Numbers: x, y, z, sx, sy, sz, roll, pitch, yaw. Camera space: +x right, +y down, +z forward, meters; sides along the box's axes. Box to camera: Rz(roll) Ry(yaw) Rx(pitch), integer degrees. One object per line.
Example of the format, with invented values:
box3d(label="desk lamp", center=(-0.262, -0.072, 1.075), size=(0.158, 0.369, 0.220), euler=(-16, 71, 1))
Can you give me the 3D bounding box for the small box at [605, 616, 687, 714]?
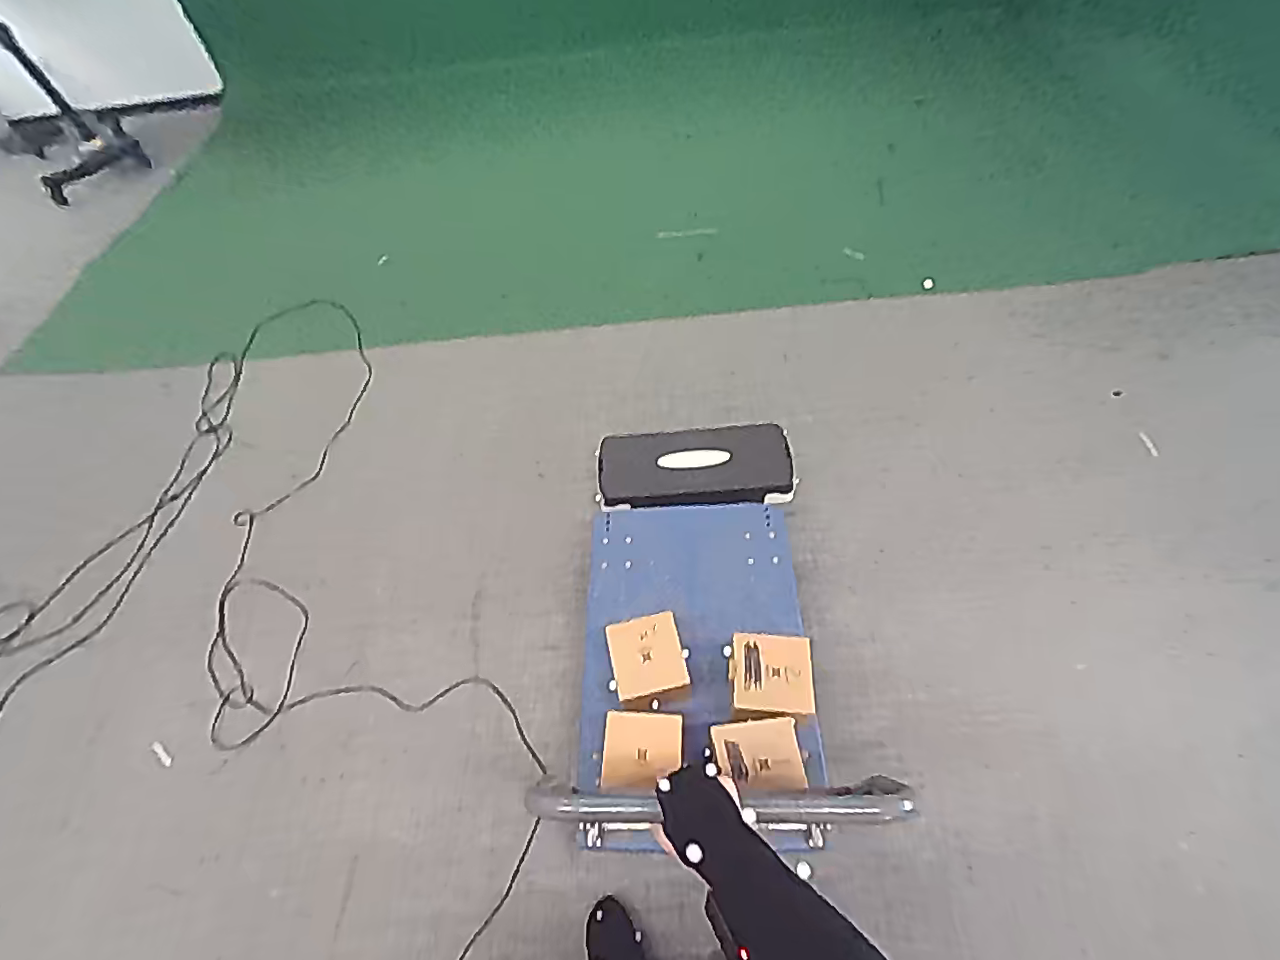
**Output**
box3d(label="small box", center=(0.017, 0.454, 1.310), size=(0.168, 0.176, 0.179), euler=(-12, 55, -4))
